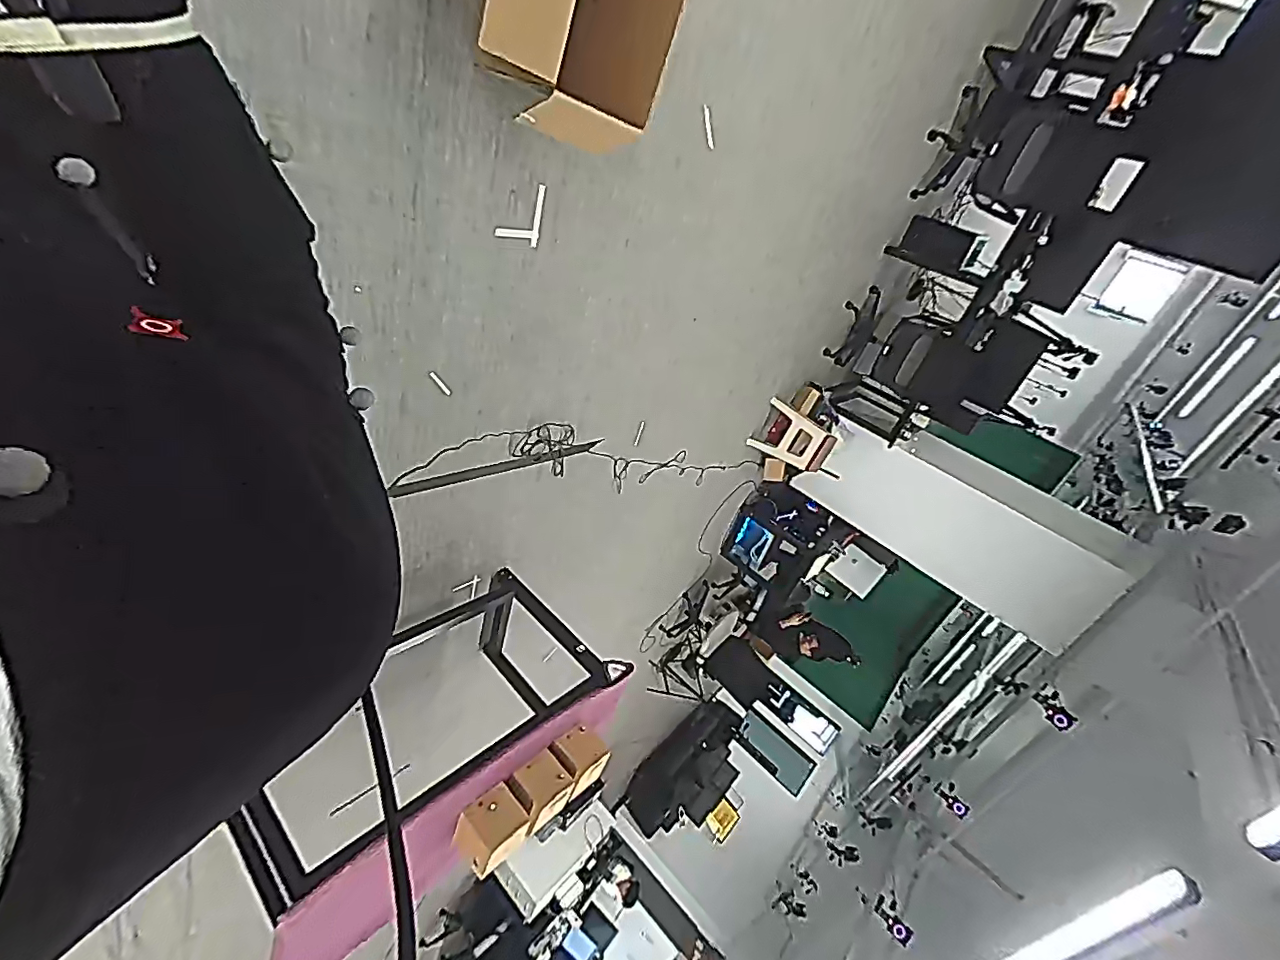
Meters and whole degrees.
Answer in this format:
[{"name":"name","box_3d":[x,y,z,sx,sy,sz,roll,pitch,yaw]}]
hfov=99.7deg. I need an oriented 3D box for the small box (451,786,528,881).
[{"name":"small box","box_3d":[-0.507,1.174,1.807,0.168,0.176,0.179,-17,136,-51]}]
